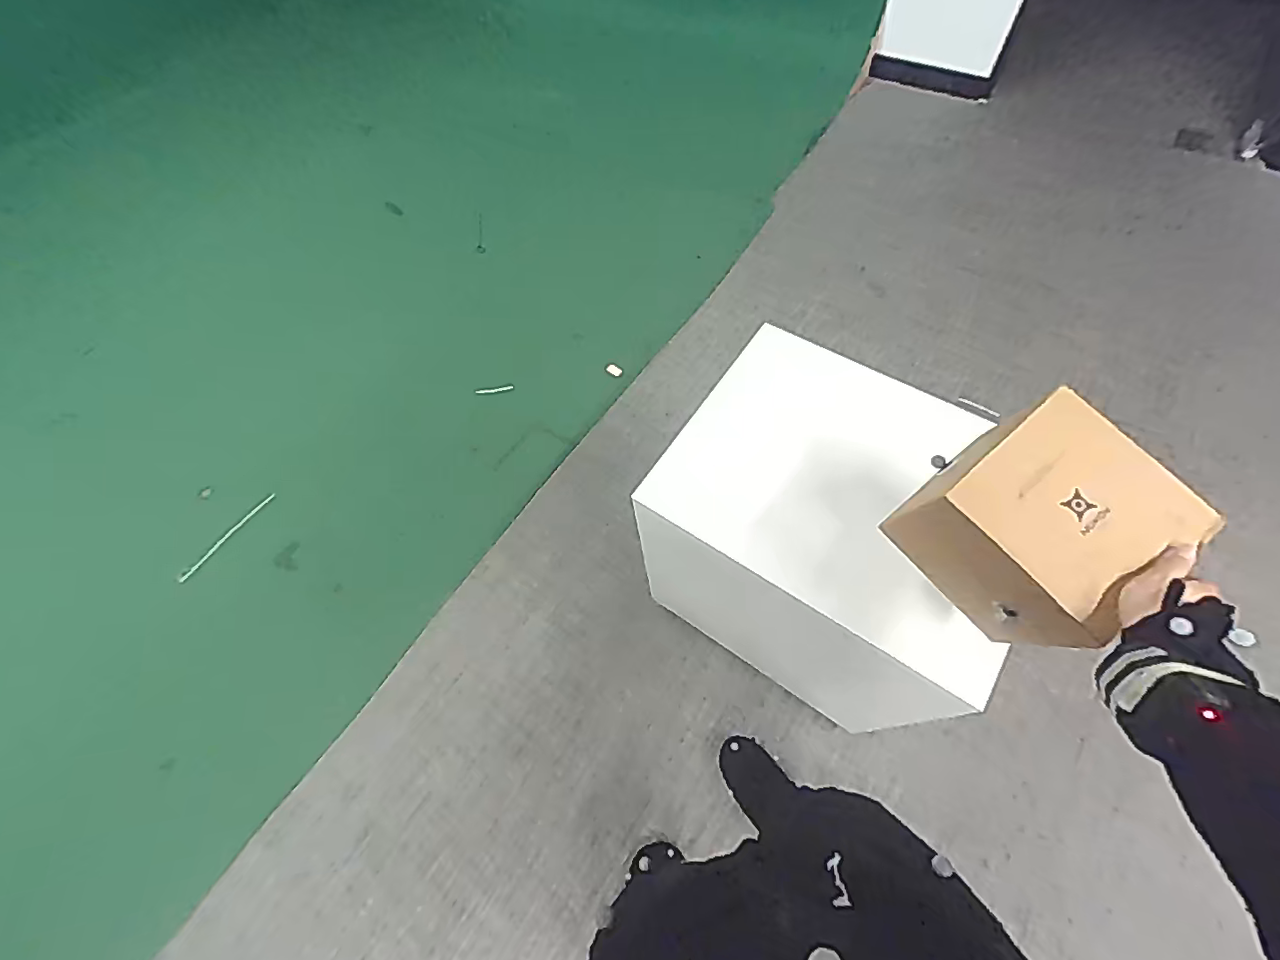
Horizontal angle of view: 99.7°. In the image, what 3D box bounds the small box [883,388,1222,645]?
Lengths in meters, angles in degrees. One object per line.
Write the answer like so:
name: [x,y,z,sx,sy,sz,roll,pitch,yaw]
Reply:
small box: [0.394,0.046,0.554,0.168,0.176,0.179,-40,75,-9]
